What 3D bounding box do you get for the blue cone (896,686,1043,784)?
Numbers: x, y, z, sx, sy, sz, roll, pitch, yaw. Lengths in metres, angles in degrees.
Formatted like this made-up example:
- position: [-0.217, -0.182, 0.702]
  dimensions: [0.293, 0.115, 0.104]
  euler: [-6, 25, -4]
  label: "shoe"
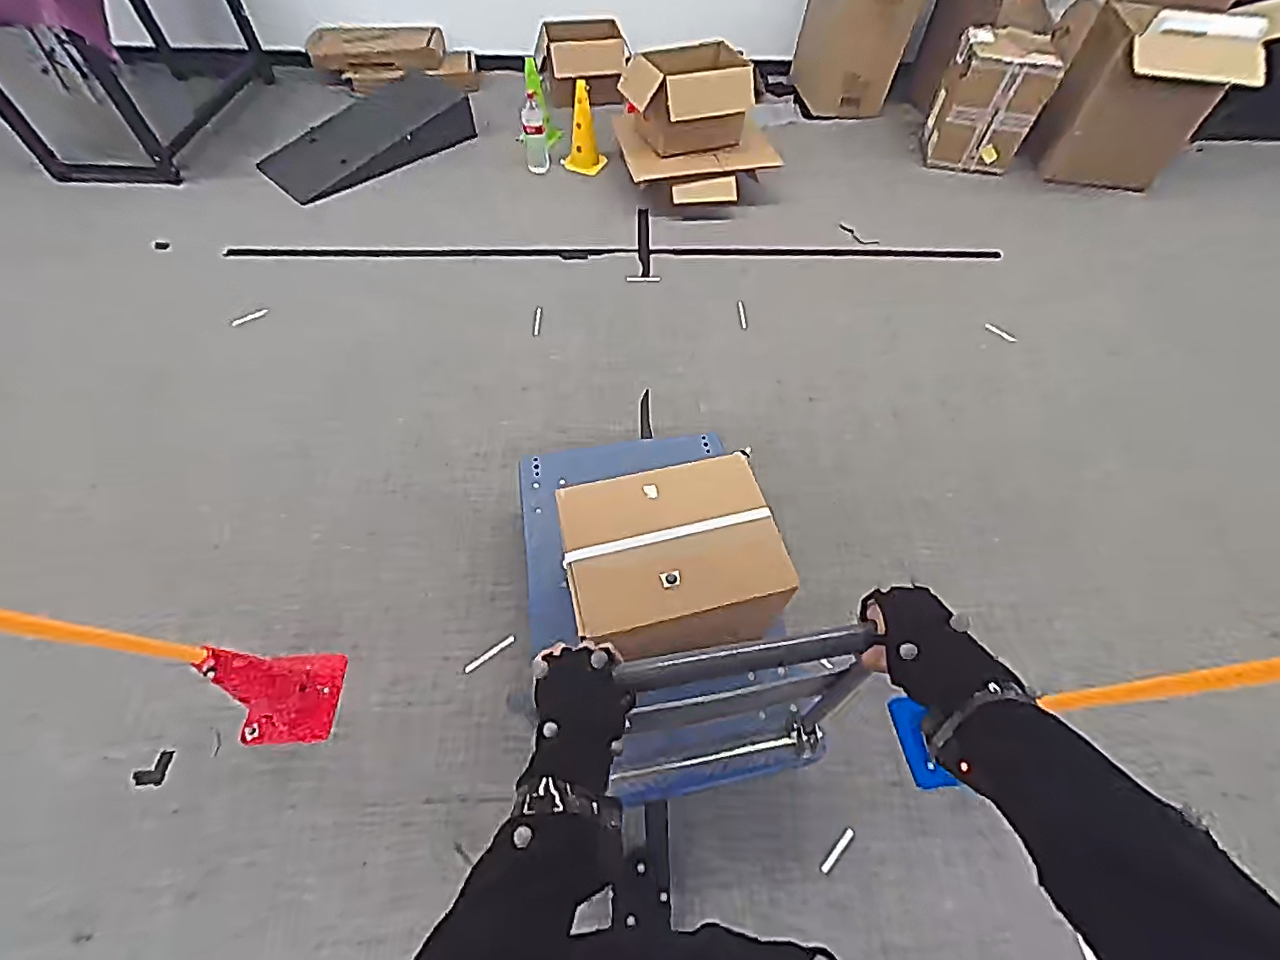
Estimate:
- position: [0.728, 0.516, 1.151]
  dimensions: [0.193, 0.380, 0.192]
  euler: [-3, 55, -4]
  label: "blue cone"
